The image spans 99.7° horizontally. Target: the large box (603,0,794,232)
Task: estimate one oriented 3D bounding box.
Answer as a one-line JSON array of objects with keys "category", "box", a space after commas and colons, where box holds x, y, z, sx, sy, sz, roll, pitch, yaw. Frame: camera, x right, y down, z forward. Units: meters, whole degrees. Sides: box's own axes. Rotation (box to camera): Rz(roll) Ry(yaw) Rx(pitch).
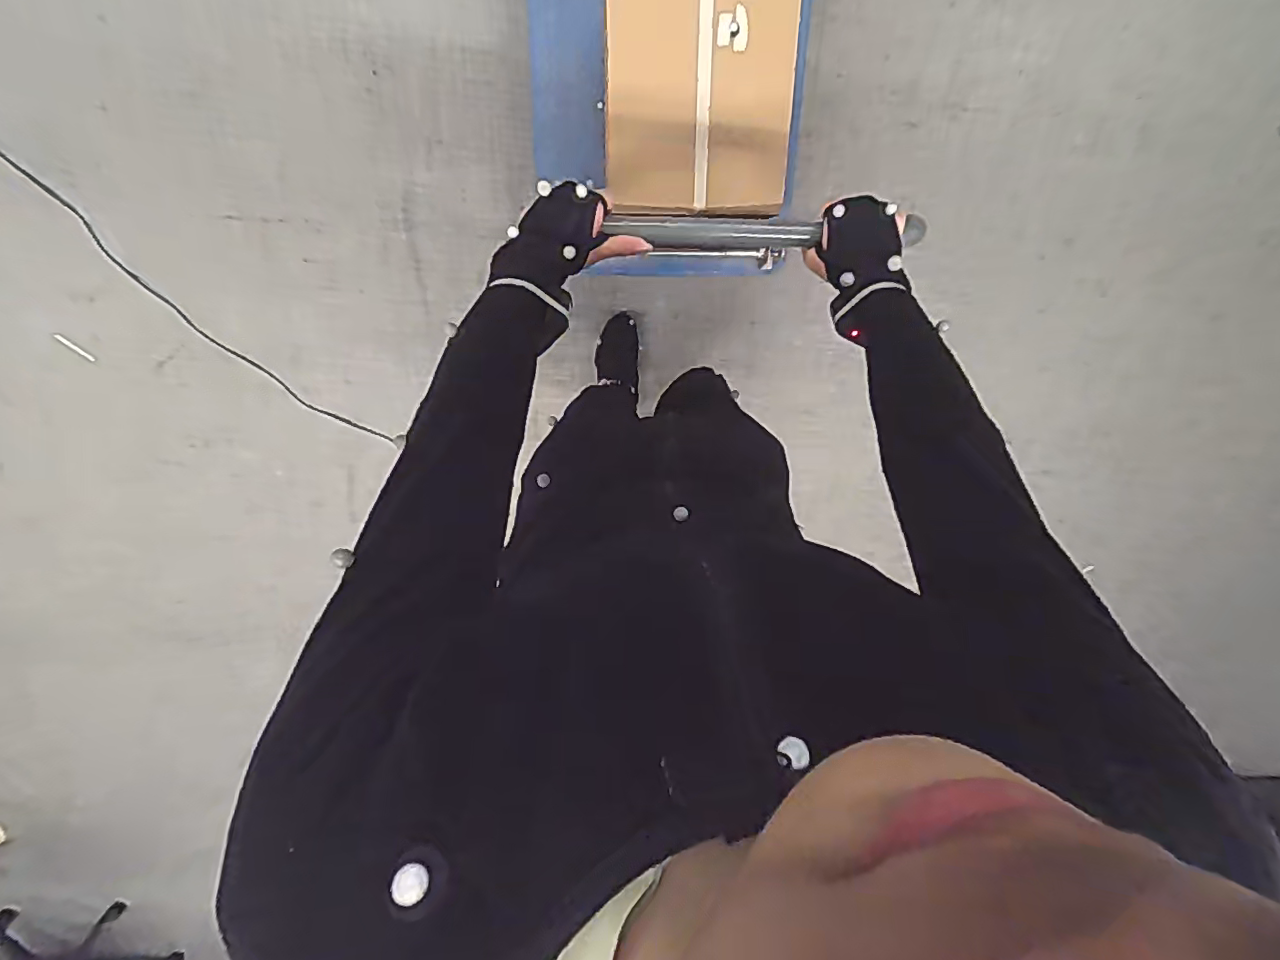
[{"category": "large box", "box": [0.090, -0.714, 1.049, 0.320, 0.320, 0.408, -2, 111, -4]}]
